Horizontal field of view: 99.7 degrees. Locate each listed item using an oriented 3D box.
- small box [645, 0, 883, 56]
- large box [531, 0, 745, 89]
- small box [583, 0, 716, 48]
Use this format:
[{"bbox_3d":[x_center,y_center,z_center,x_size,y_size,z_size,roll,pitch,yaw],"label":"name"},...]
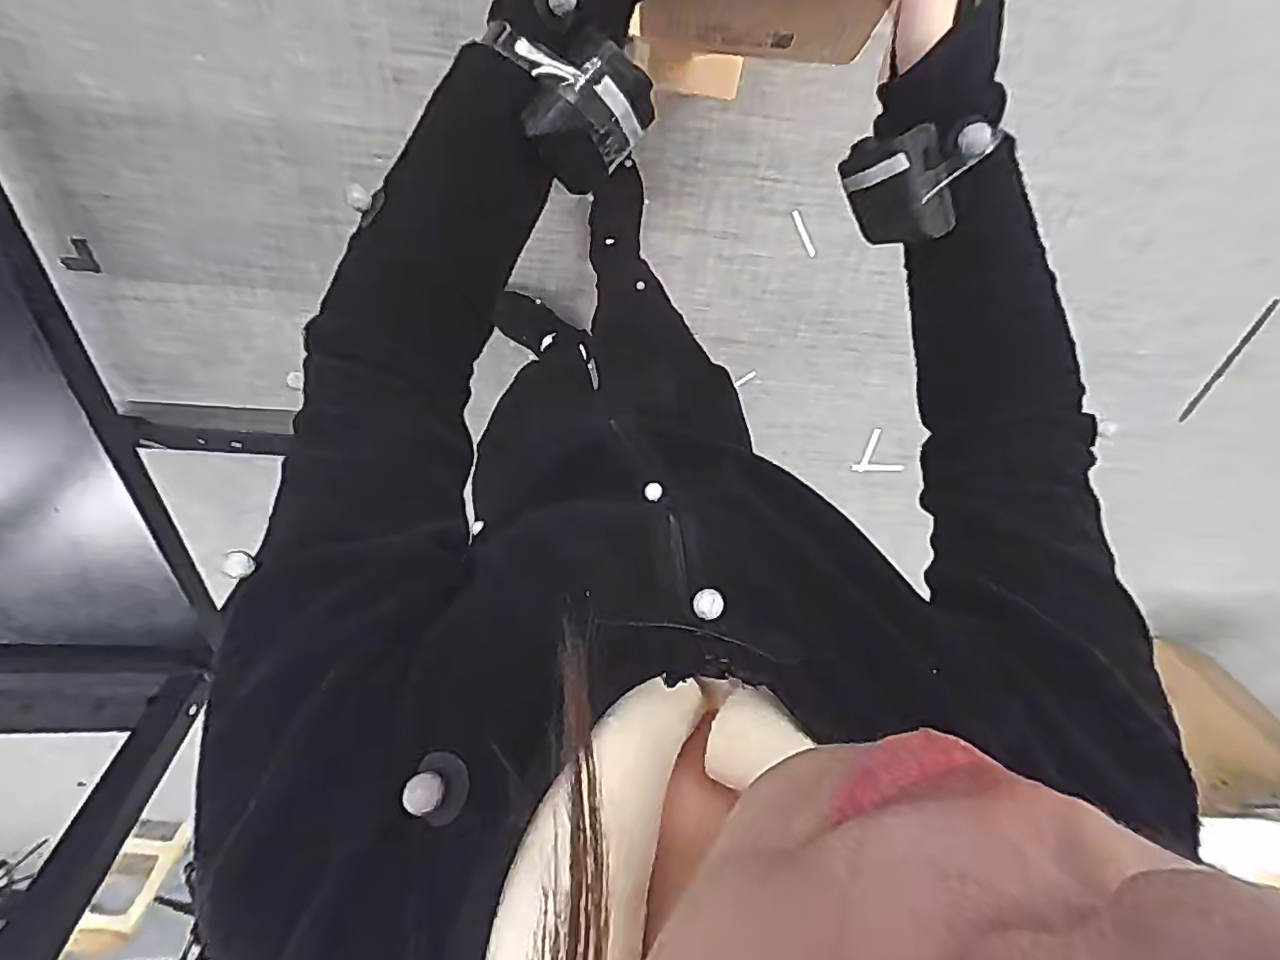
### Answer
[{"bbox_3d":[0.090,-0.405,0.317,0.168,0.176,0.179,5,94,-1],"label":"small box"},{"bbox_3d":[0.006,-0.849,0.805,0.320,0.320,0.408,2,127,-10],"label":"large box"},{"bbox_3d":[0.023,-0.649,0.650,0.168,0.176,0.179,7,127,-10],"label":"small box"}]
